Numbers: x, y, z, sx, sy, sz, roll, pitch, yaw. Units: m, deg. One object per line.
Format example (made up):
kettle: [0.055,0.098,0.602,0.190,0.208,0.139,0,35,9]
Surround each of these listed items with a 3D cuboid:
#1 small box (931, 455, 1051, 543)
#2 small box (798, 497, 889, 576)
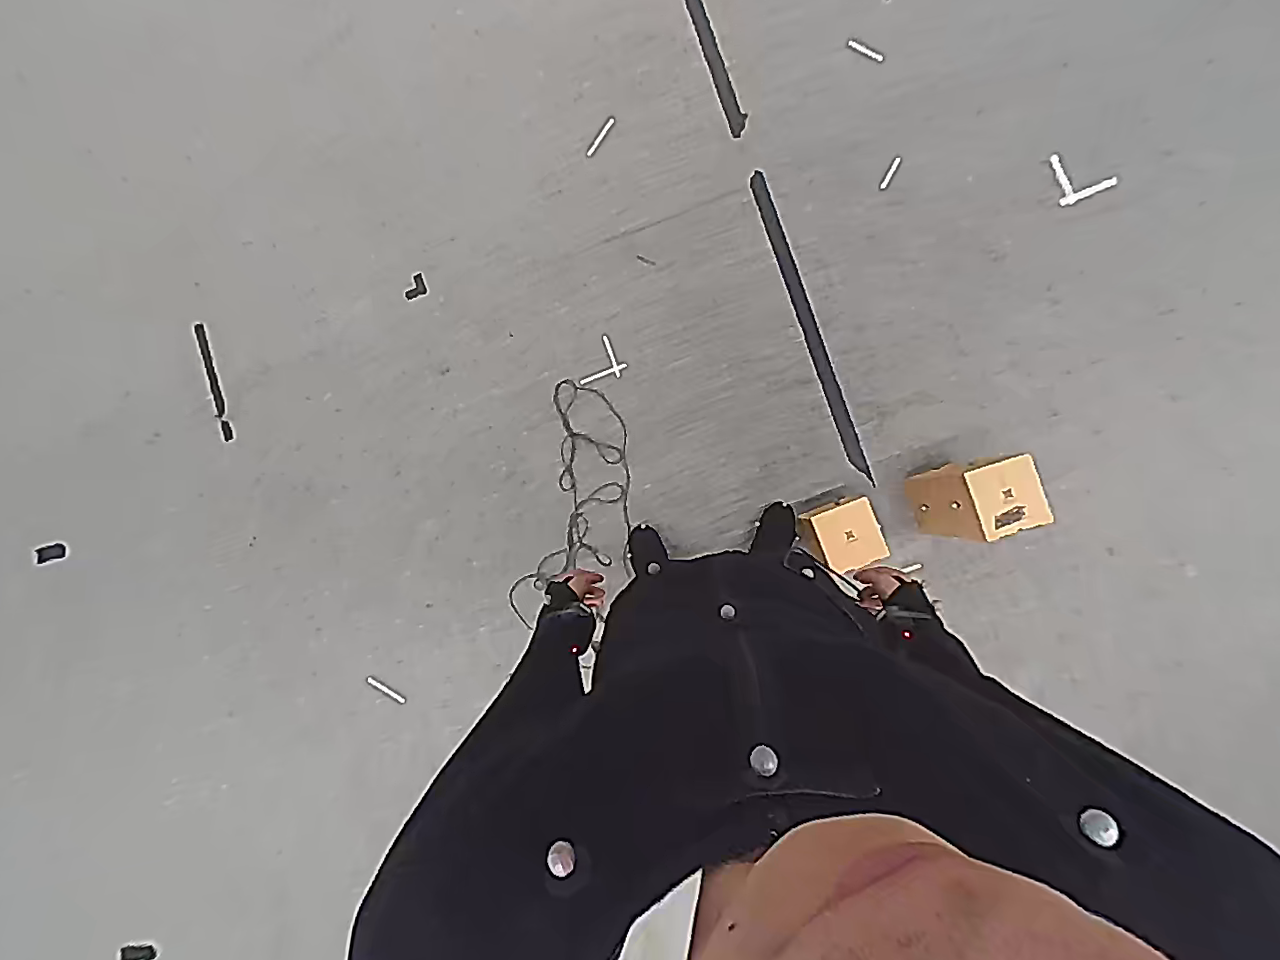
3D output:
small box: [0.876,0.047,1.367,0.168,0.176,0.179,-18,86,2]
small box: [0.571,0.159,1.545,0.168,0.176,0.179,-22,87,2]
